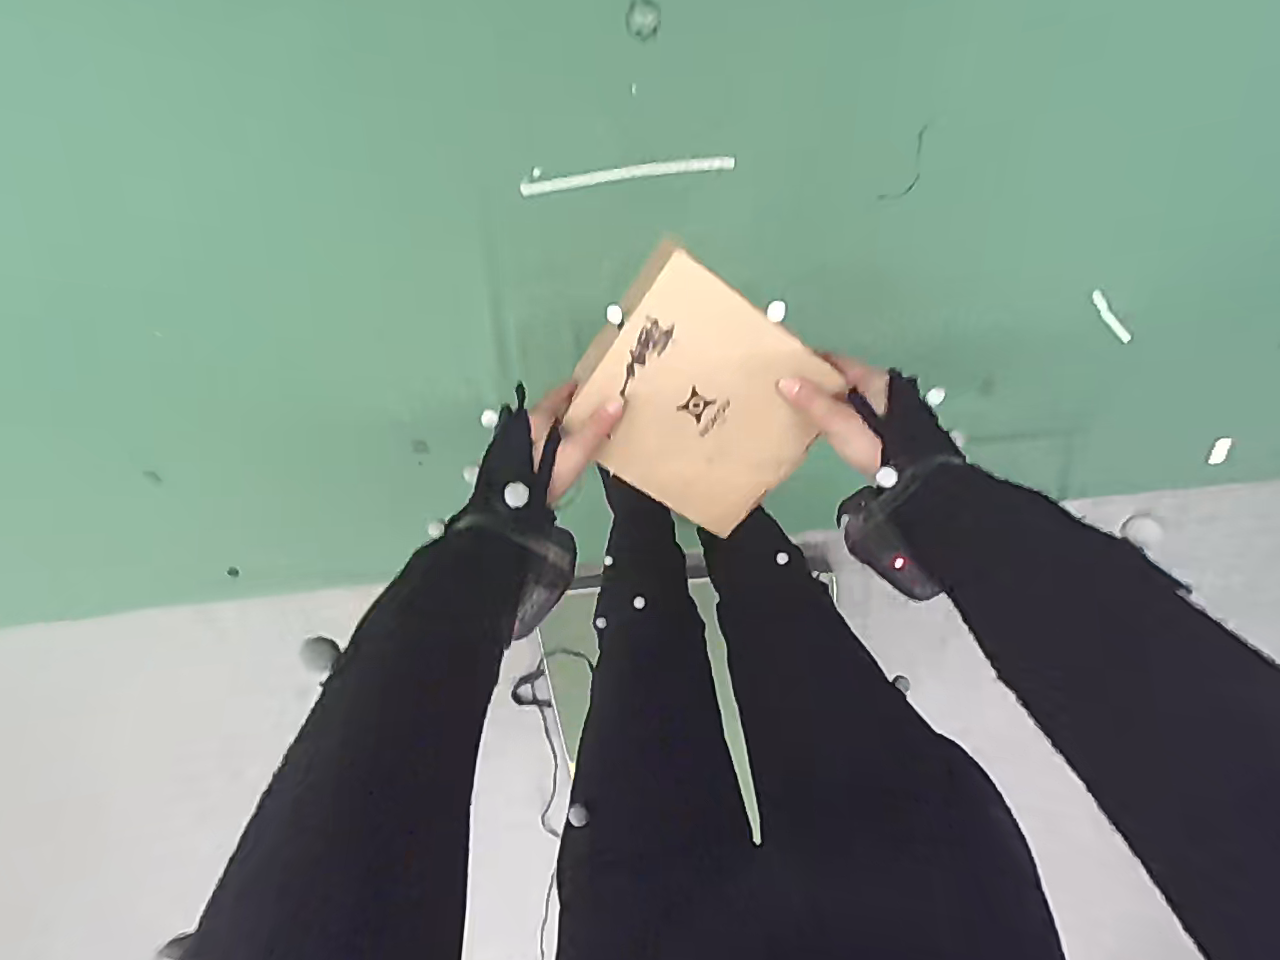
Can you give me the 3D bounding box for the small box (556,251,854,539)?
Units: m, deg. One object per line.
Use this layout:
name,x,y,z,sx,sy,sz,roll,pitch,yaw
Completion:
small box,0.049,-0.086,0.489,0.179,0.176,0.168,32,112,-16
